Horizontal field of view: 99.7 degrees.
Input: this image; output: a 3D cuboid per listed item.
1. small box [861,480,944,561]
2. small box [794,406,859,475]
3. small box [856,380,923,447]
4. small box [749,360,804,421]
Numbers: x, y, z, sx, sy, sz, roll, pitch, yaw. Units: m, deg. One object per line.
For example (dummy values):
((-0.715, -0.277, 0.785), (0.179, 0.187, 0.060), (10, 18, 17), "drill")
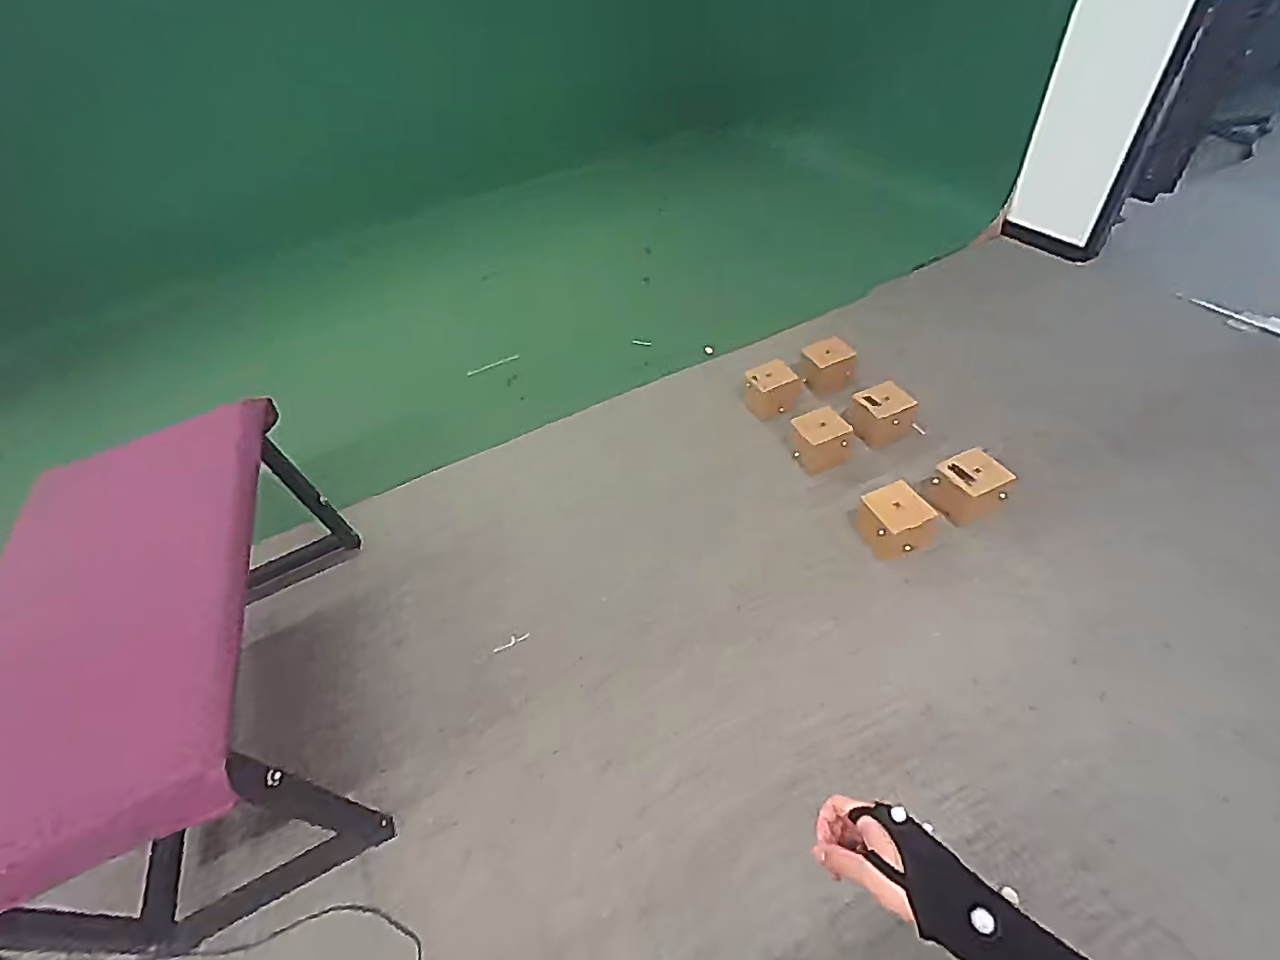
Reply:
((0.859, 0.136, 1.790), (0.168, 0.176, 0.179), (-22, 48, -7), "small box")
((0.711, -0.151, 2.081), (0.179, 0.176, 0.168), (-22, 47, -7), "small box")
((0.966, -0.256, 2.115), (0.179, 0.176, 0.168), (-22, 47, -7), "small box")
((0.581, -0.382, 2.322), (0.179, 0.176, 0.168), (-23, 47, -9), "small box")
